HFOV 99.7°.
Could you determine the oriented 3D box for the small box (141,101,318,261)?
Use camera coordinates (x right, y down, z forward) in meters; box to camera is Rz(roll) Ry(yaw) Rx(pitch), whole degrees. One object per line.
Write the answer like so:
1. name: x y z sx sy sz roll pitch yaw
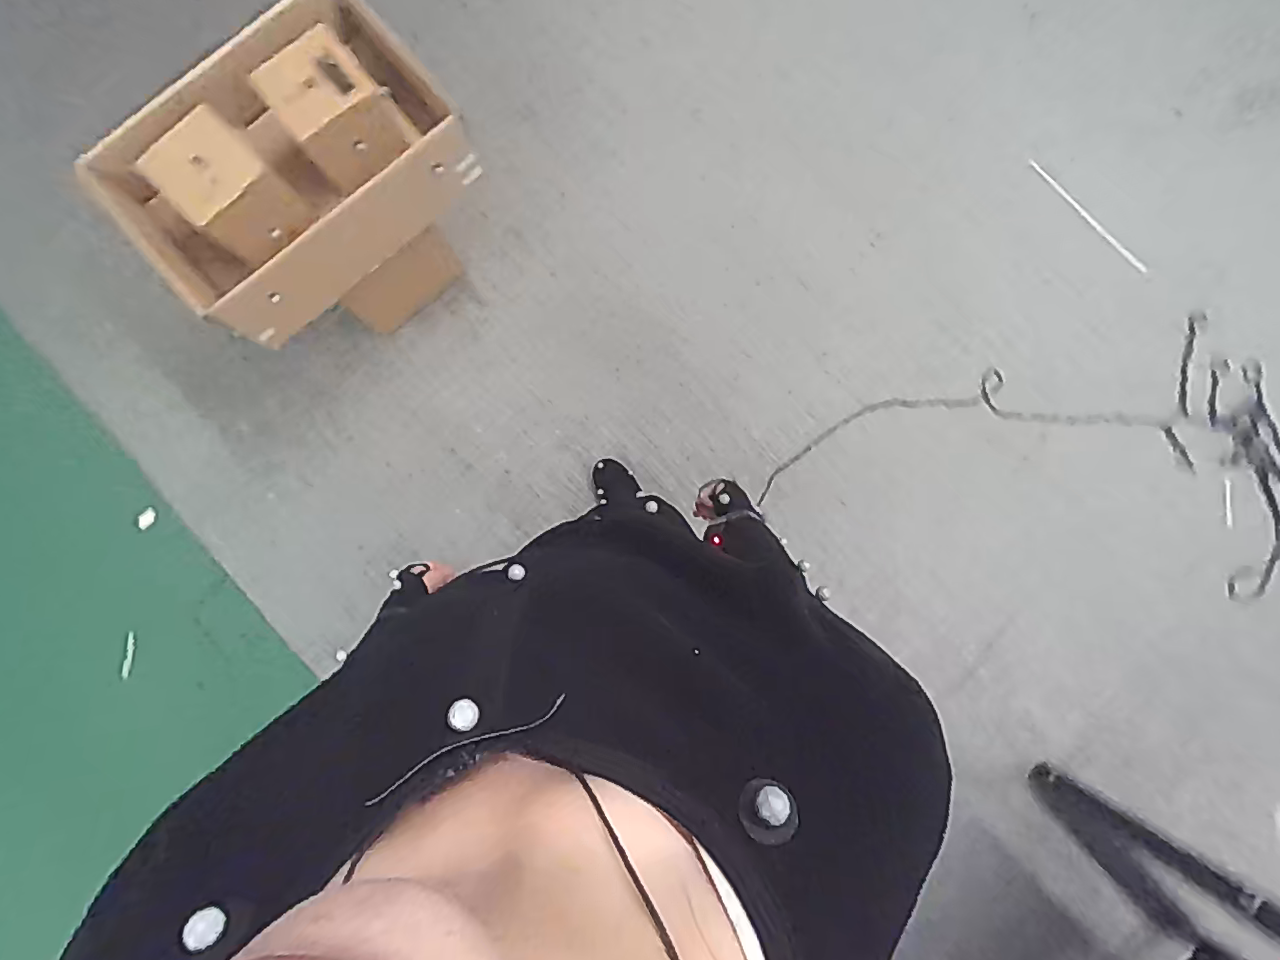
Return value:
1. small box: -0.784 -0.568 1.053 0.168 0.176 0.179 -44 88 -4
